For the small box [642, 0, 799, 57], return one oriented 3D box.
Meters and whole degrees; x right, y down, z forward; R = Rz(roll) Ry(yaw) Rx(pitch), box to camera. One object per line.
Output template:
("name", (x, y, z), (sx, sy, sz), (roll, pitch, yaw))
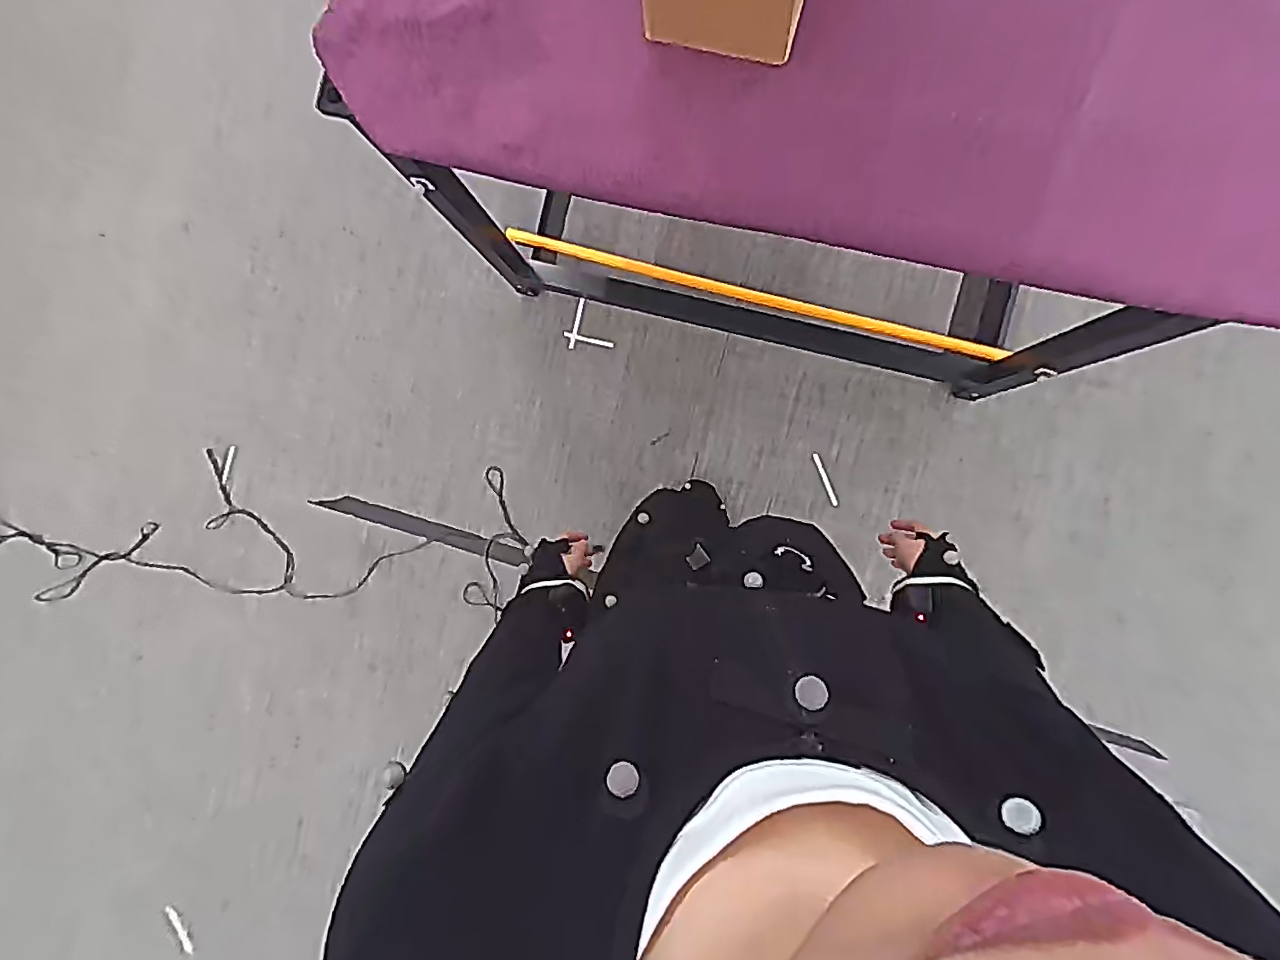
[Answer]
("small box", (0.098, -0.599, 0.573), (0.179, 0.176, 0.168), (15, 91, 5))
